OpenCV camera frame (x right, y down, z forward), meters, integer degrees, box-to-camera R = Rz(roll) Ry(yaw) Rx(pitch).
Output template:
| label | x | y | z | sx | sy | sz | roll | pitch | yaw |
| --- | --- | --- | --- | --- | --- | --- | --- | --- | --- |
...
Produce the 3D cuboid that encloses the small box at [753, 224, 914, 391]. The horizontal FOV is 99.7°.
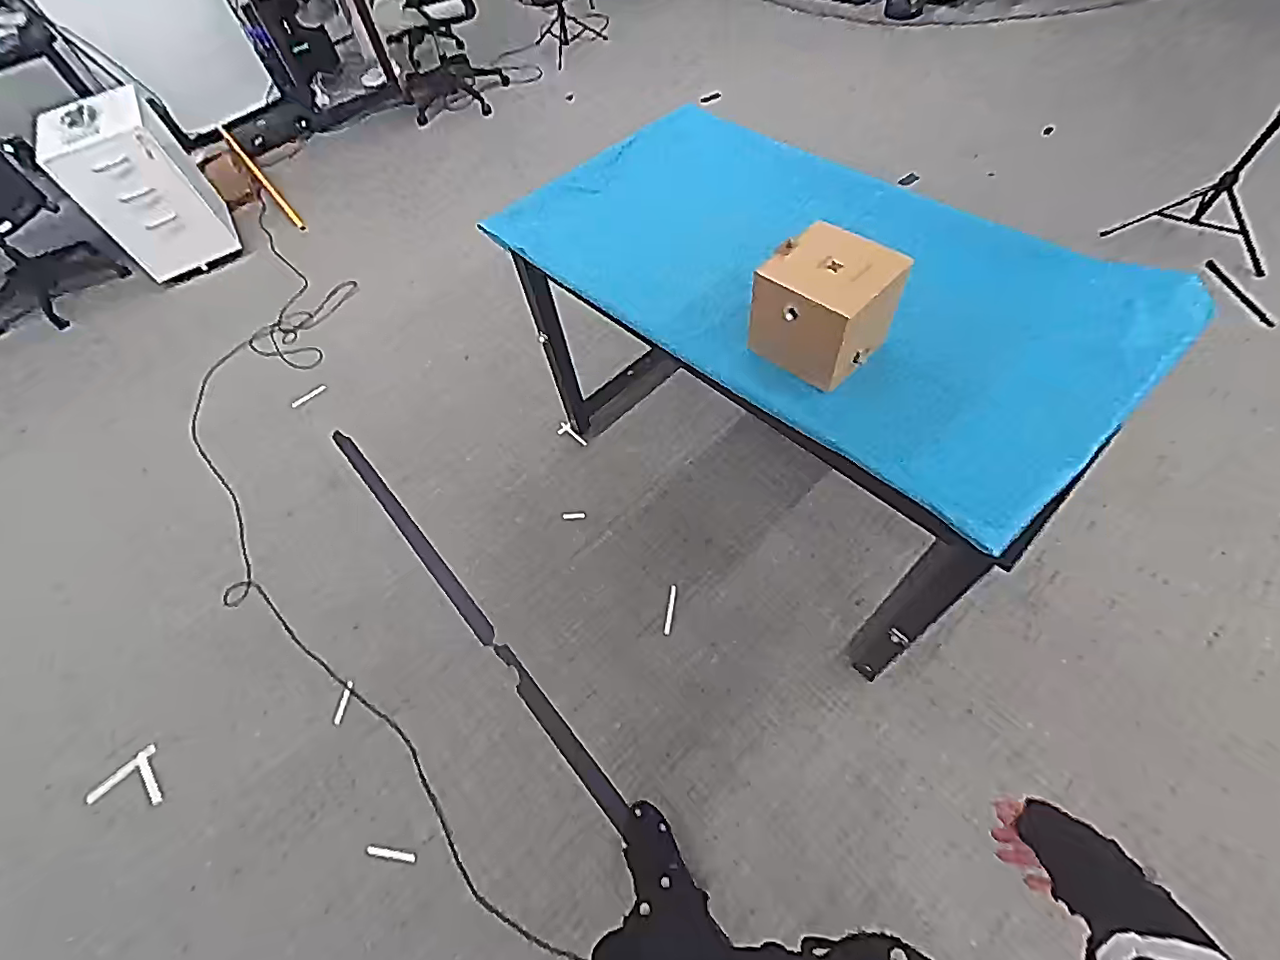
| label | x | y | z | sx | sy | sz | roll | pitch | yaw |
| --- | --- | --- | --- | --- | --- | --- | --- | --- | --- |
| small box | 0.302 | -0.278 | 0.885 | 0.168 | 0.176 | 0.179 | -41 | 61 | -17 |
